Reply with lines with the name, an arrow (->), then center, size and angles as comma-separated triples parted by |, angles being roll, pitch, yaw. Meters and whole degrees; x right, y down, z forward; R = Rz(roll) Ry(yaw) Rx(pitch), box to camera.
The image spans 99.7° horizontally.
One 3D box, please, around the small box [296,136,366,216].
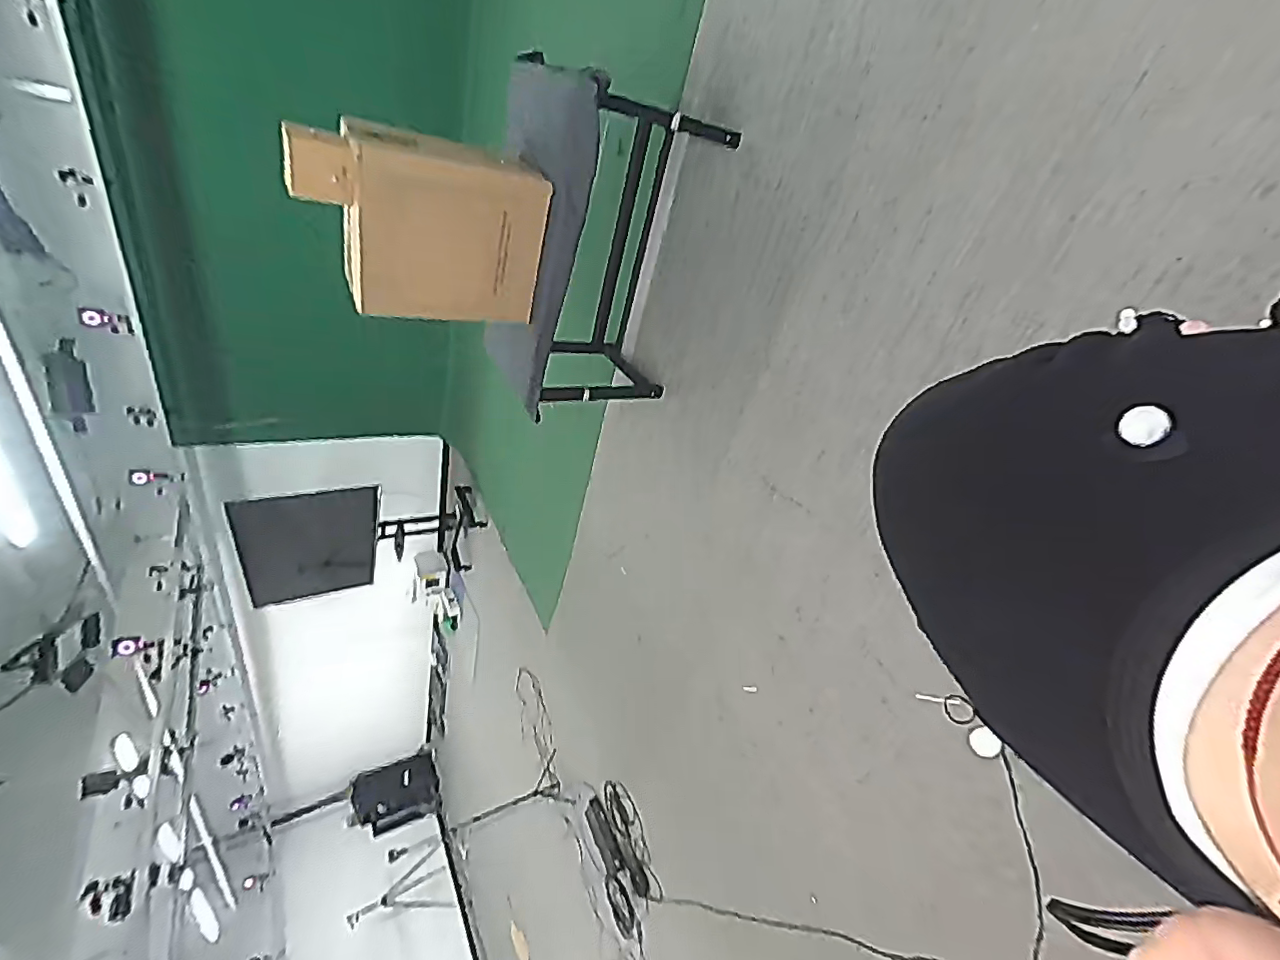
small box -> -0.979, -0.956, 1.712 | 0.179, 0.176, 0.168 | 52, 135, 37
